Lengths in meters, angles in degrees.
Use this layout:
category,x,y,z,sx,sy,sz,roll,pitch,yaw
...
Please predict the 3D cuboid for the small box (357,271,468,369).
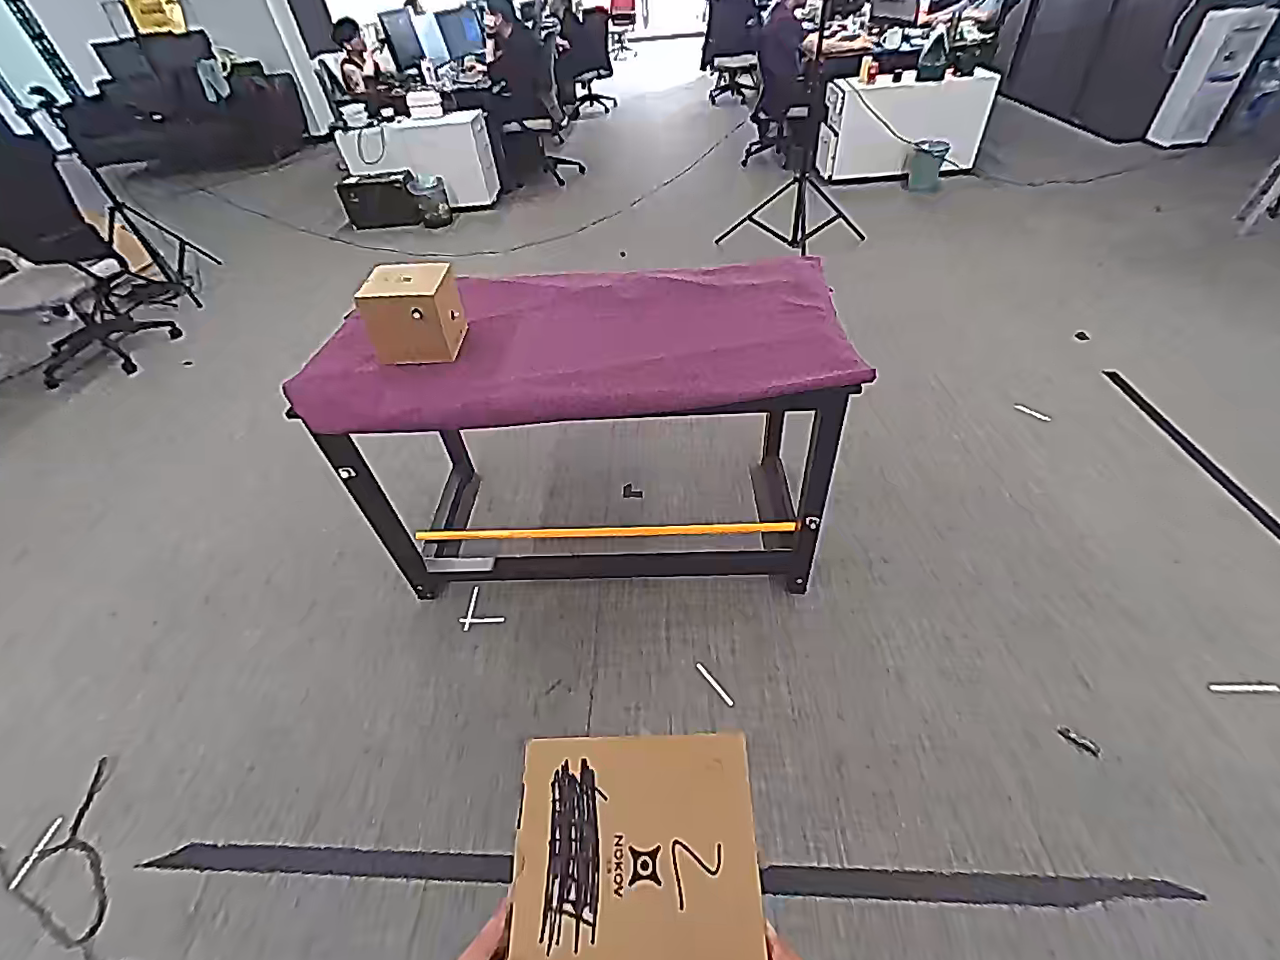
category,x,y,z,sx,sy,sz,roll,pitch,yaw
small box,-0.519,-0.373,1.266,0.179,0.176,0.168,-2,43,0
